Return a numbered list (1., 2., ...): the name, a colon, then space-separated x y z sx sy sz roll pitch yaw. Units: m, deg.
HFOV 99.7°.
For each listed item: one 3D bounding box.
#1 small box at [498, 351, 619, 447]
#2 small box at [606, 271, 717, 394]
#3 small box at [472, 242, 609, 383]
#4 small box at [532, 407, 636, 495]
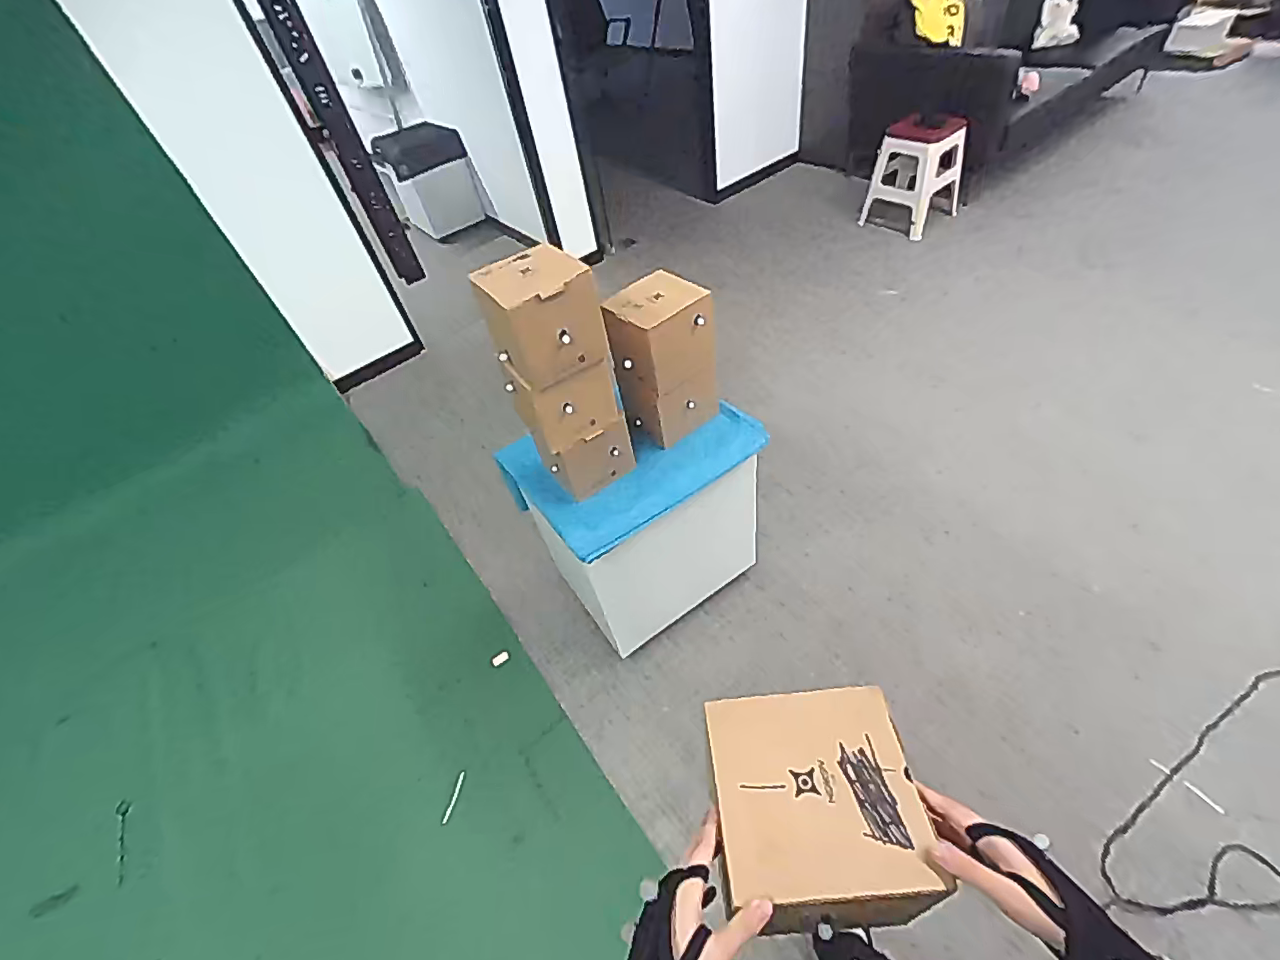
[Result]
1. small box: -0.161 -0.191 1.106 0.168 0.176 0.179 -30 48 -17
2. small box: 0.052 -0.319 1.174 0.179 0.176 0.168 -35 50 -18
3. small box: -0.173 -0.299 0.983 0.168 0.176 0.179 -30 49 -17
4. small box: -0.127 -0.088 1.227 0.168 0.176 0.179 -31 49 -18
